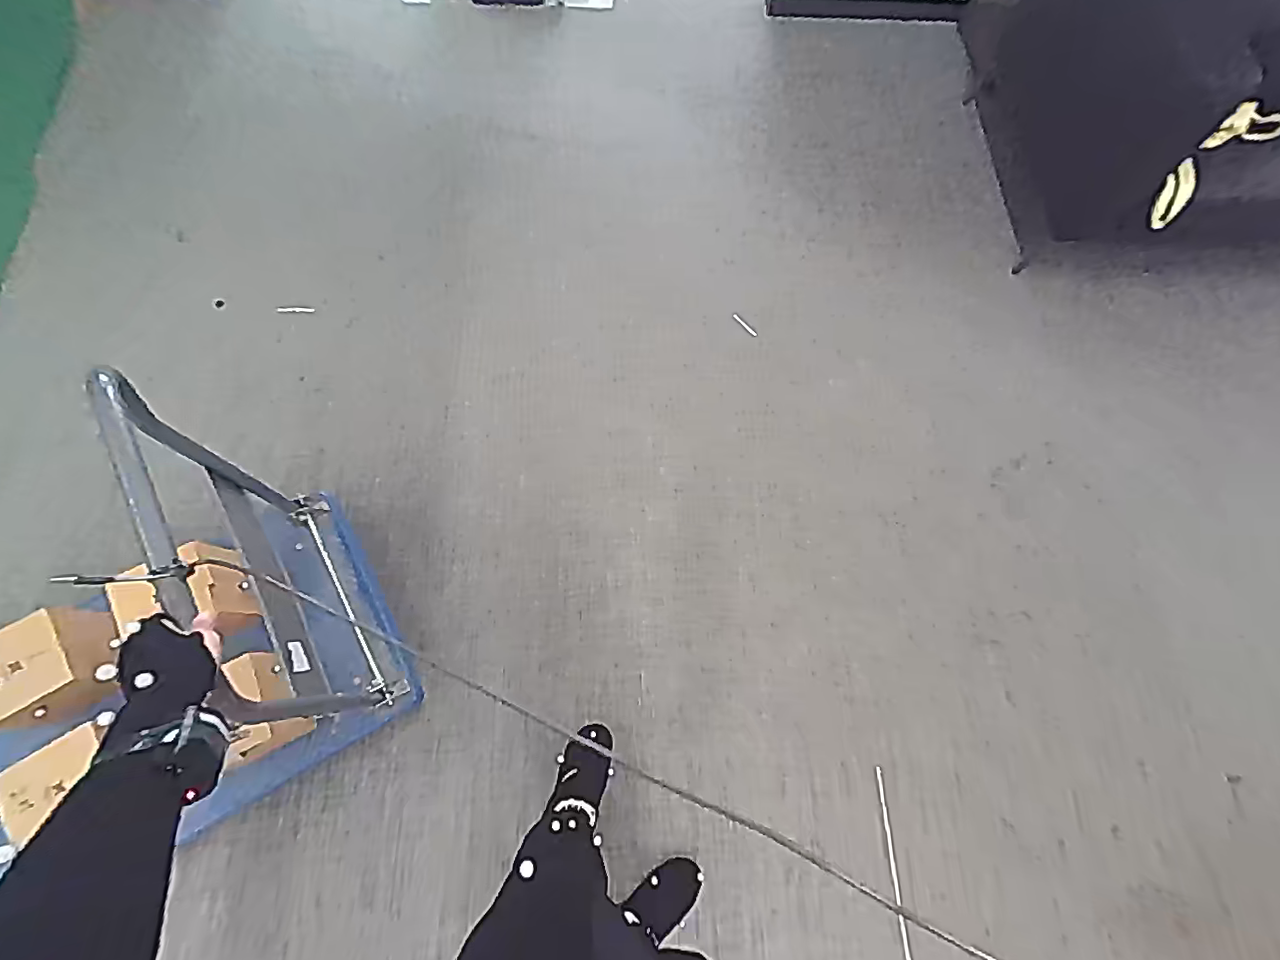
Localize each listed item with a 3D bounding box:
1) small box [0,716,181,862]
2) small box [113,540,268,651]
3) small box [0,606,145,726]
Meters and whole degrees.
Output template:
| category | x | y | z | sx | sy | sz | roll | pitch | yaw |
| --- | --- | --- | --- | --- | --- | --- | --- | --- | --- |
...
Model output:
| category | x | y | z | sx | sy | sz | roll | pitch | yaw |
| --- | --- | --- | --- | --- | --- | --- | --- | --- | --- |
| small box | -1.046 | 0.580 | 1.047 | 0.179 | 0.176 | 0.168 | -32 | 76 | -13 |
| small box | -0.955 | 0.256 | 1.162 | 0.179 | 0.176 | 0.168 | -27 | 76 | -13 |
| small box | -1.188 | 0.380 | 1.104 | 0.179 | 0.176 | 0.168 | -32 | 77 | -13 |
